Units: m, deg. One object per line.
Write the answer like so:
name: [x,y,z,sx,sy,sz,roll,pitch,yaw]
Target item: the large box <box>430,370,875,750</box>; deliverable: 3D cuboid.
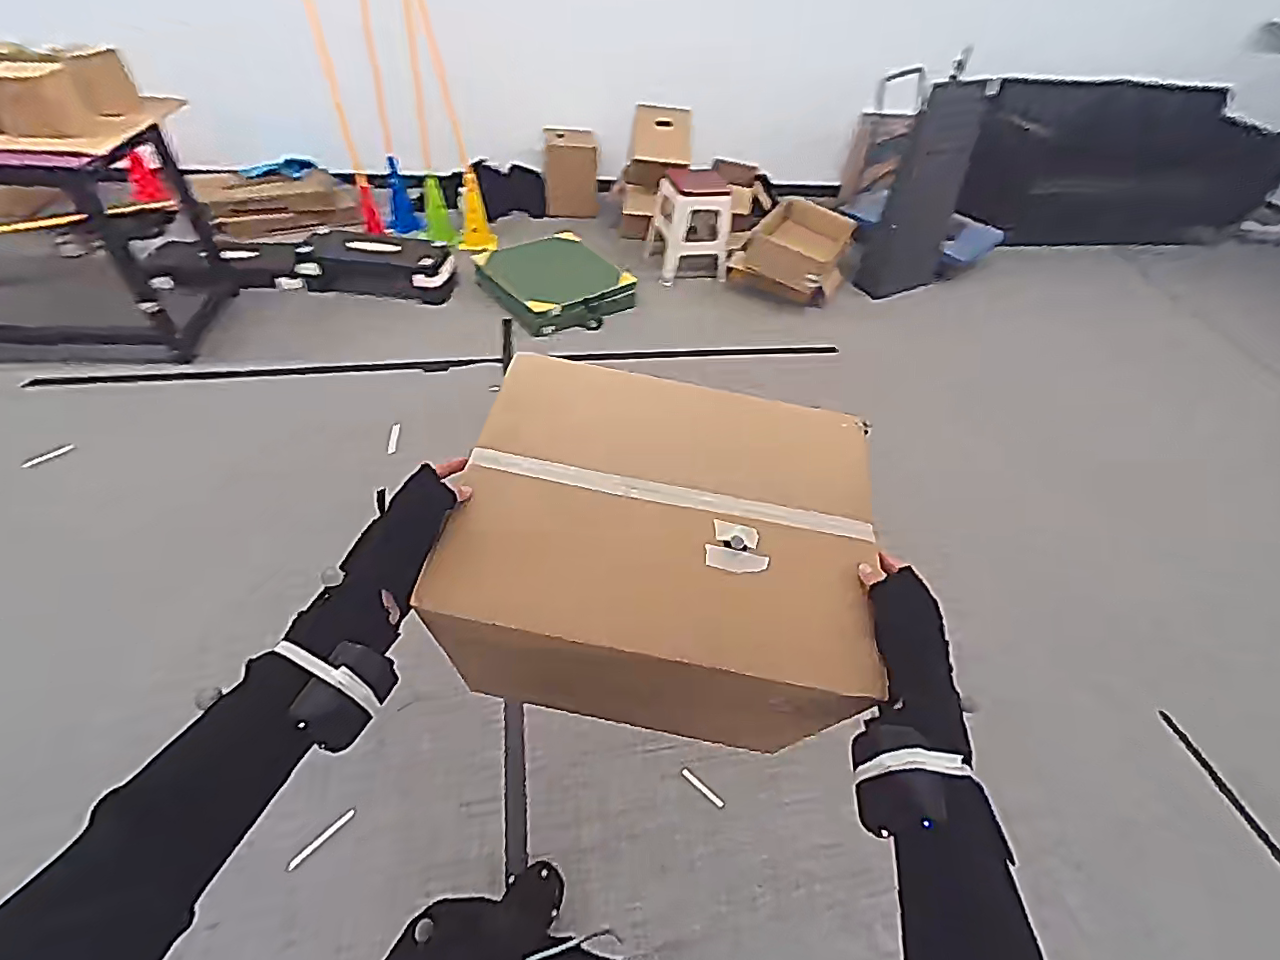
large box: [0.016,0.112,0.672,0.408,0.320,0.320,12,56,0]
